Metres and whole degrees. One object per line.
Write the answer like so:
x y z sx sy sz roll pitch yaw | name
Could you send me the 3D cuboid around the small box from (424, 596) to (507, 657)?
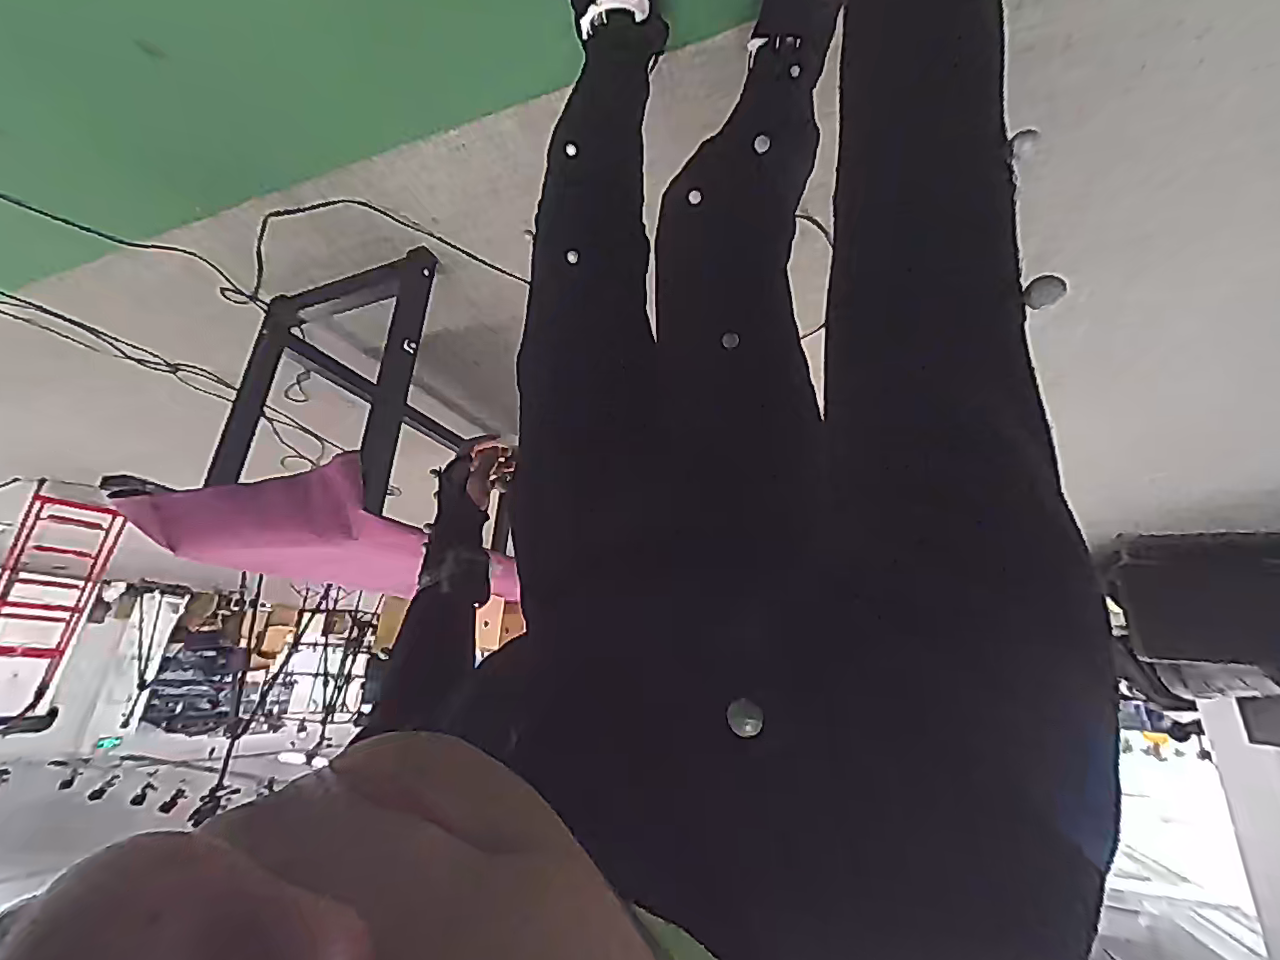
-0.540 0.458 1.691 0.168 0.176 0.179 -6 158 23 | small box
